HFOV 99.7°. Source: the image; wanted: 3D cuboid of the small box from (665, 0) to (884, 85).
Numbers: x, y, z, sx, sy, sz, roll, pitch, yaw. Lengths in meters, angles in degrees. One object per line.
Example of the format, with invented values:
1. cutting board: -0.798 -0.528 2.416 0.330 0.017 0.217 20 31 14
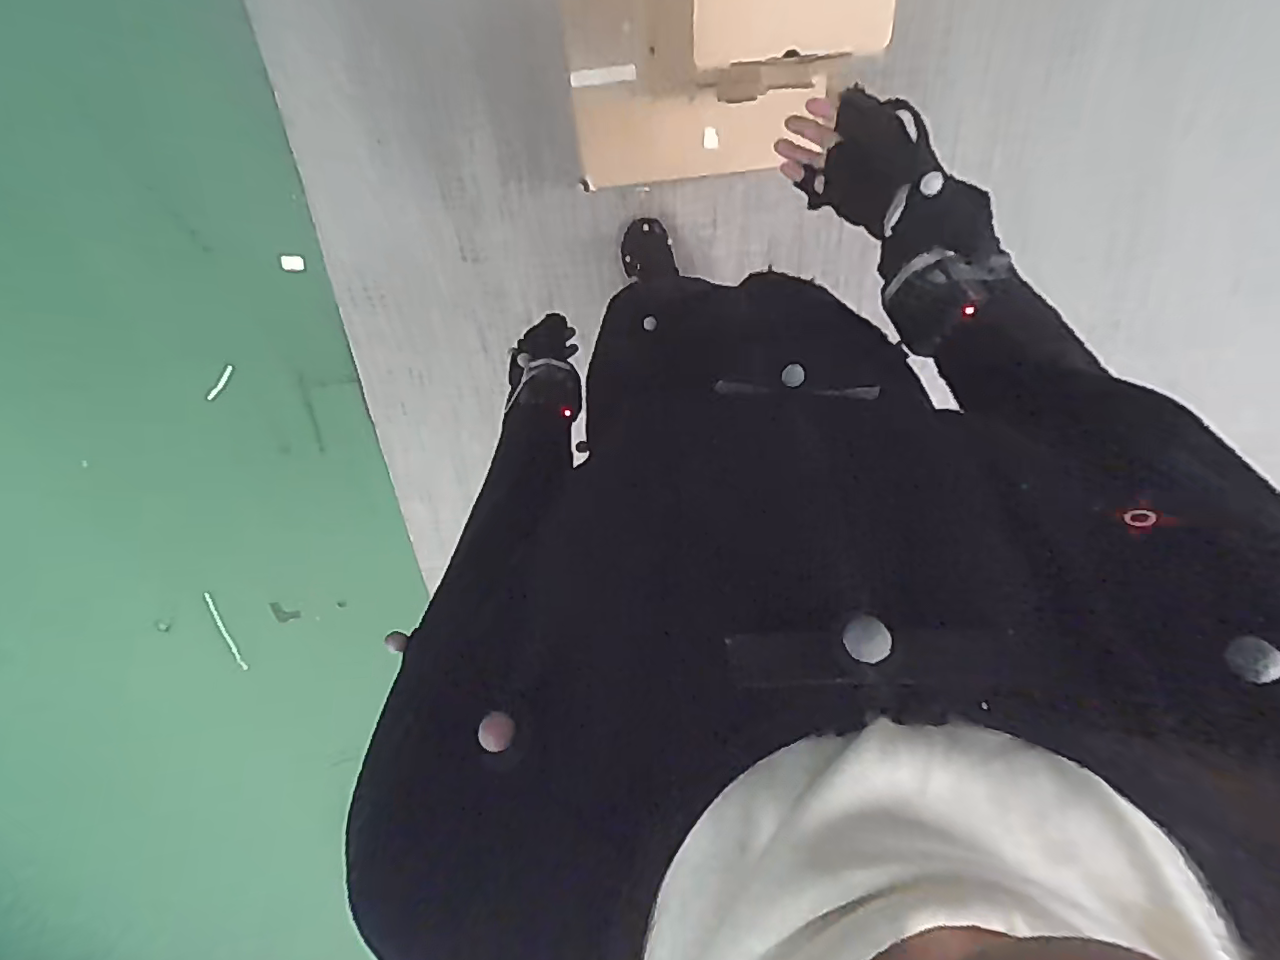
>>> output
1. small box: 0.112 -0.467 0.483 0.168 0.176 0.179 -6 123 0

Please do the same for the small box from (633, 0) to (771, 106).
1. small box: 0.086 -0.636 0.760 0.179 0.176 0.168 -7 123 1

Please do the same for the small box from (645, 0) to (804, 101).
1. small box: 0.094 -0.551 0.623 0.168 0.176 0.179 -6 121 0
